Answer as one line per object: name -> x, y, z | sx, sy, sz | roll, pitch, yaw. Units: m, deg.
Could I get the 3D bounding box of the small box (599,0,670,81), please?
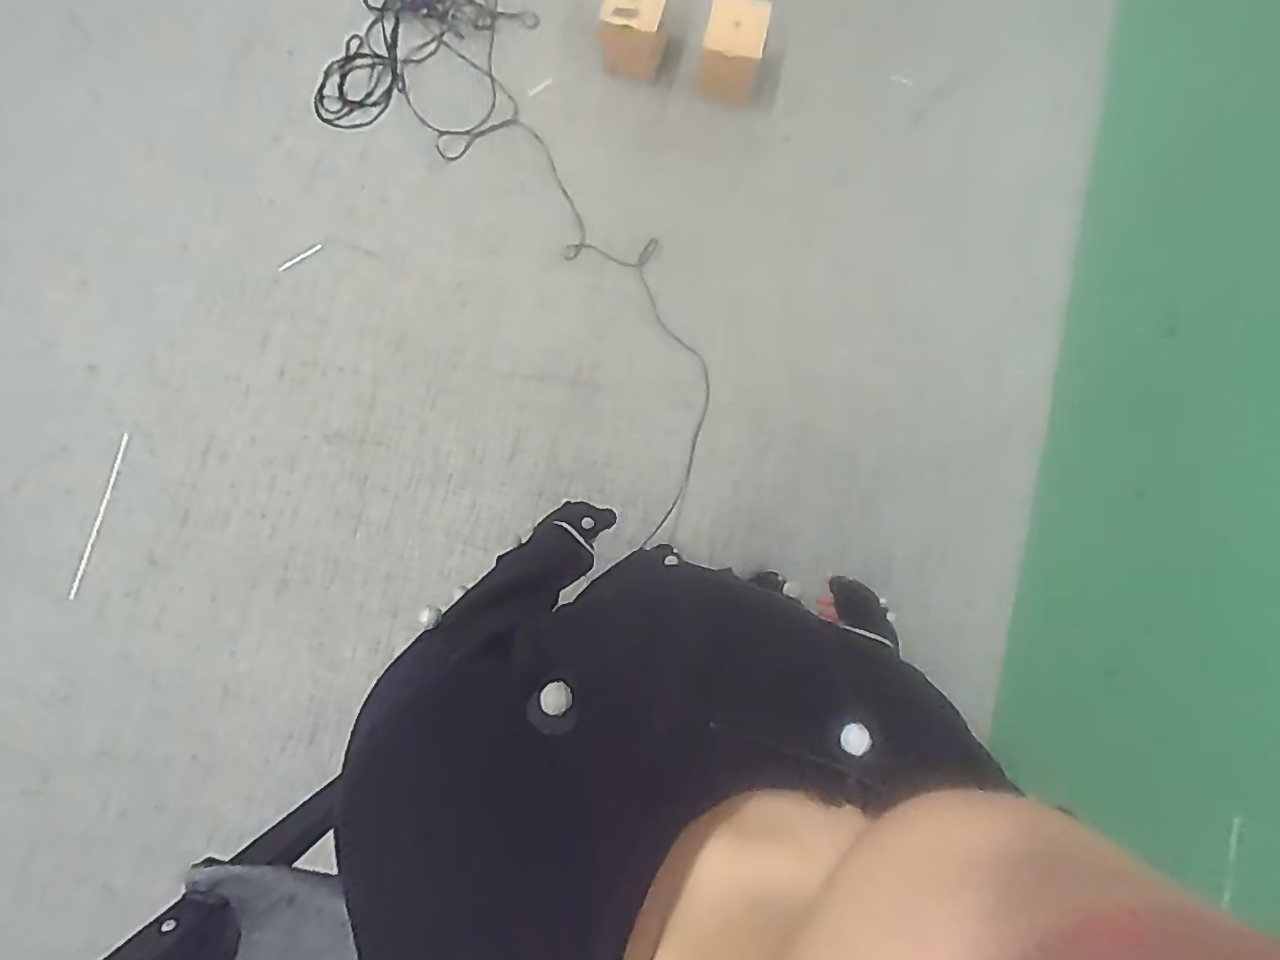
small box -> -0.010, -1.321, 1.578 | 0.168, 0.176, 0.179 | 17, 84, 2

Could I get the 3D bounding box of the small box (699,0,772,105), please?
small box -> 0.270, -1.243, 1.569 | 0.168, 0.176, 0.179 | 12, 85, 2
